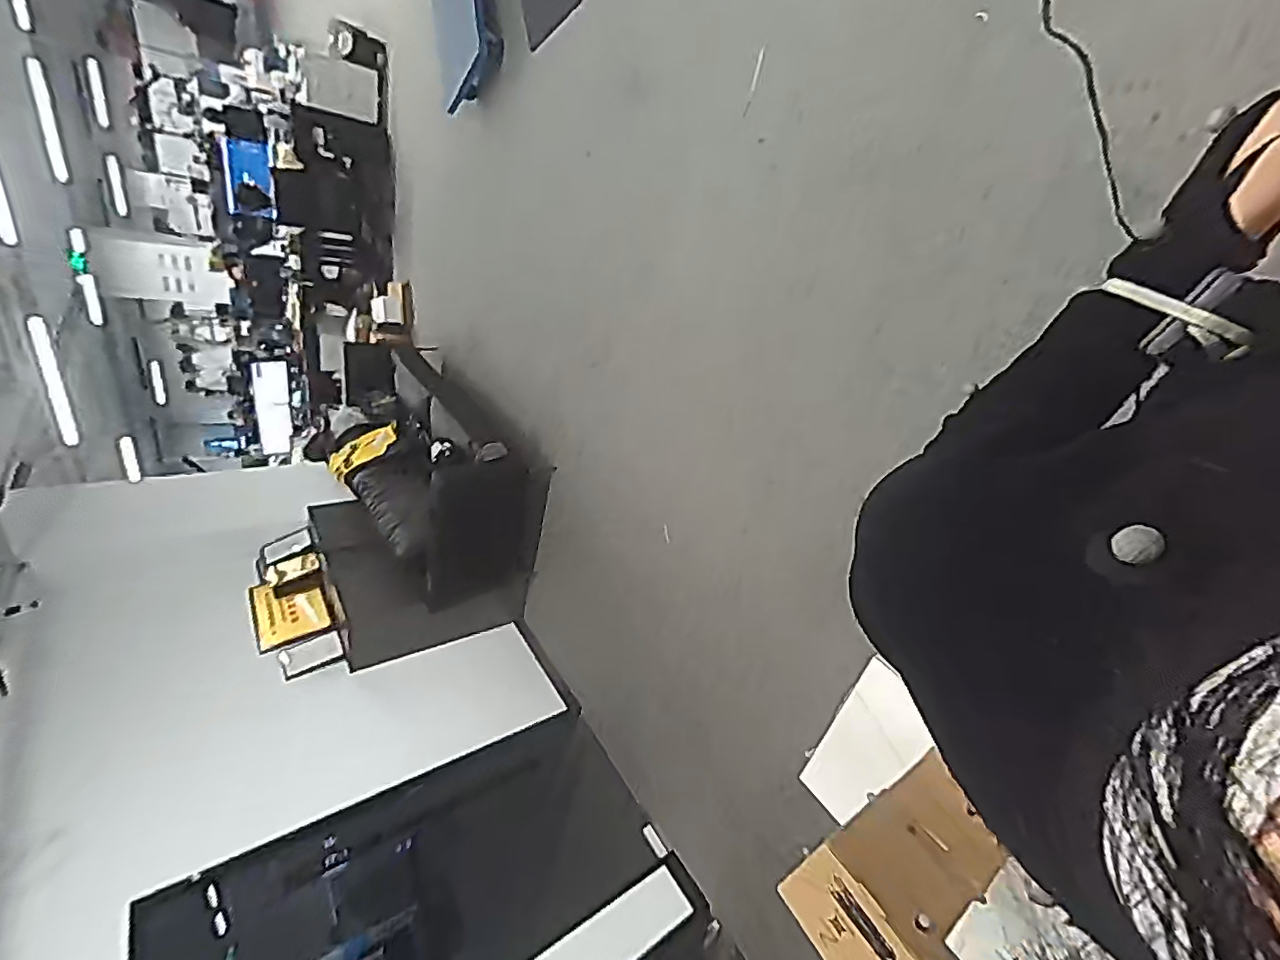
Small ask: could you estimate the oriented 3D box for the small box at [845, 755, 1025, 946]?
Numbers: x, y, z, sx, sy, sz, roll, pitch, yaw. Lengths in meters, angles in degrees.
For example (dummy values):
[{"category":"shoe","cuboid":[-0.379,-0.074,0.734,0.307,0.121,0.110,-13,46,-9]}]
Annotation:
[{"category":"small box","cuboid":[0.482,0.596,0.886,0.168,0.176,0.179,45,131,39]}]
